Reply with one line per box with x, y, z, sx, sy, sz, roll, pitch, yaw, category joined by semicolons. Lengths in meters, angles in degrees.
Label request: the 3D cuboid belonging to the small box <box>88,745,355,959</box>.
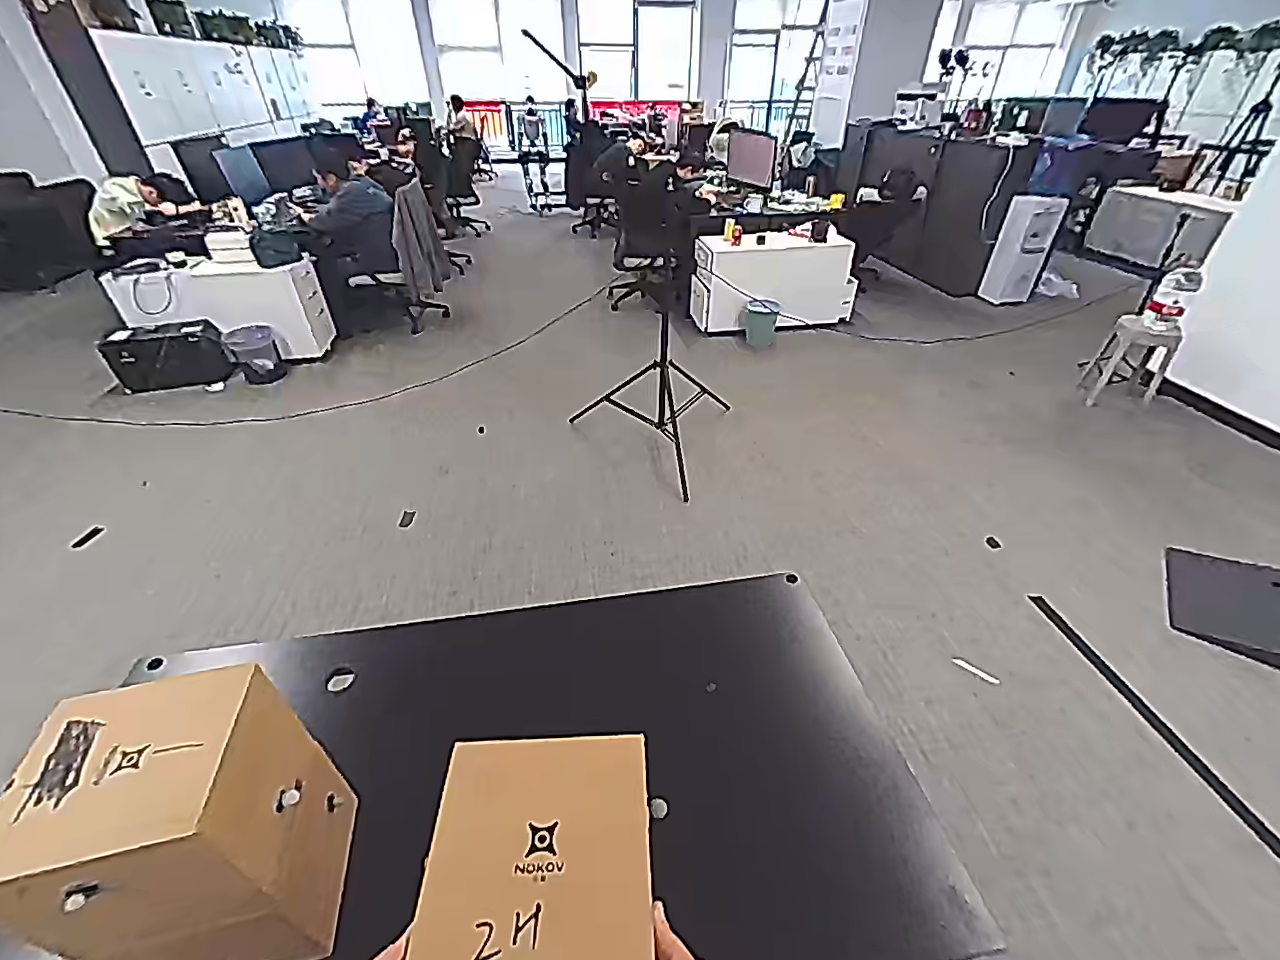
-0.449;0.446;0.622;0.168;0.176;0.179;-9;39;-11;small box

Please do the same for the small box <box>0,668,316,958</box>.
-0.451;0.316;0.521;0.179;0.176;0.168;-9;37;-11;small box

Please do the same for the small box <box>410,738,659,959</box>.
-0.071;0.343;0.451;0.168;0.176;0.179;-2;37;-2;small box
